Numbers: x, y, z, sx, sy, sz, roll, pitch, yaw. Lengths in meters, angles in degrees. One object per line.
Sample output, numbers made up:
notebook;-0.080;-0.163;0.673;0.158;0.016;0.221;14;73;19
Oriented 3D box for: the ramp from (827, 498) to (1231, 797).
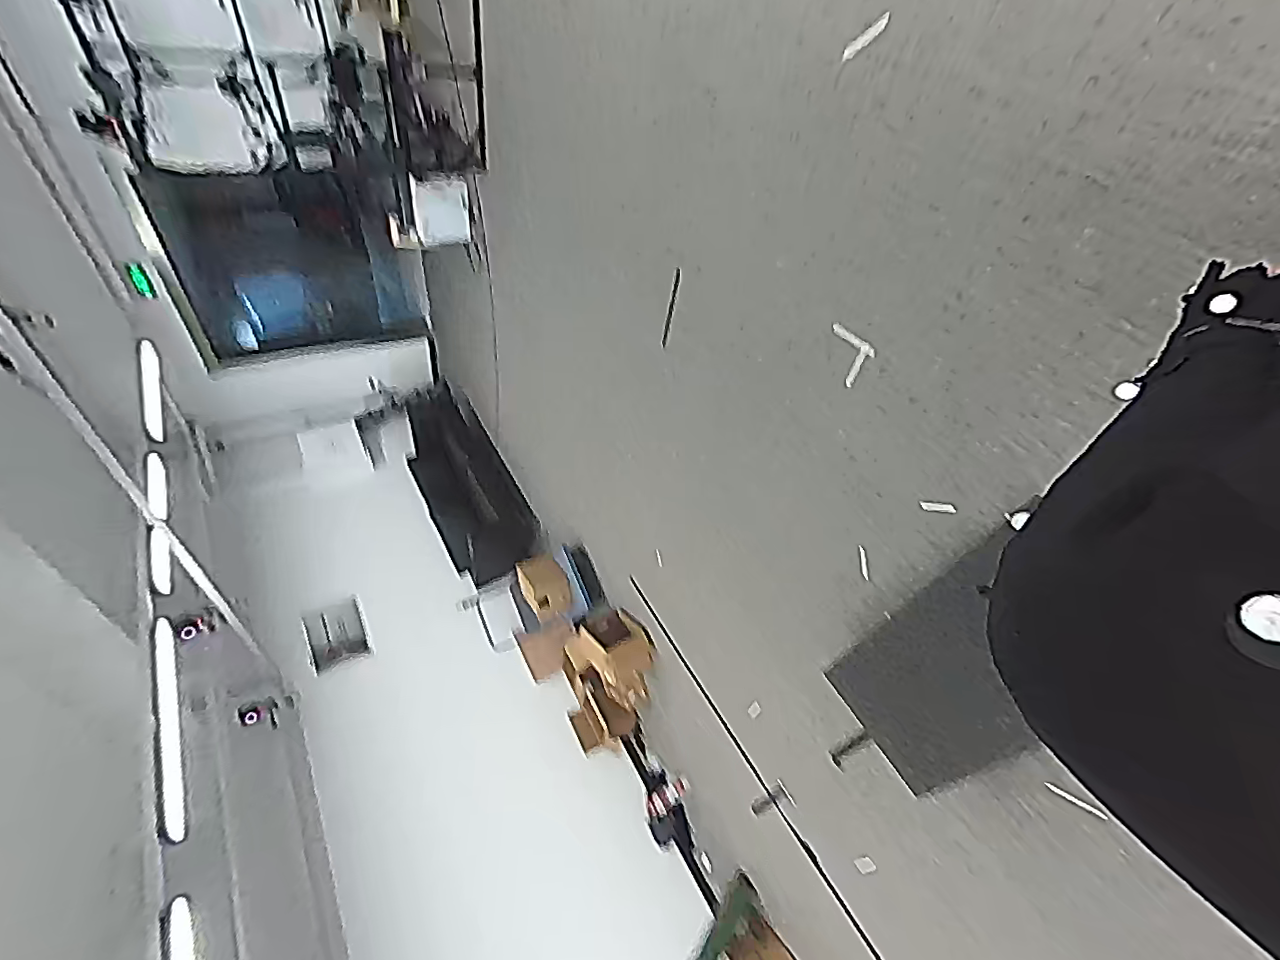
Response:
ramp;0.992;0.544;1.600;0.509;0.206;0.991;55;149;31
